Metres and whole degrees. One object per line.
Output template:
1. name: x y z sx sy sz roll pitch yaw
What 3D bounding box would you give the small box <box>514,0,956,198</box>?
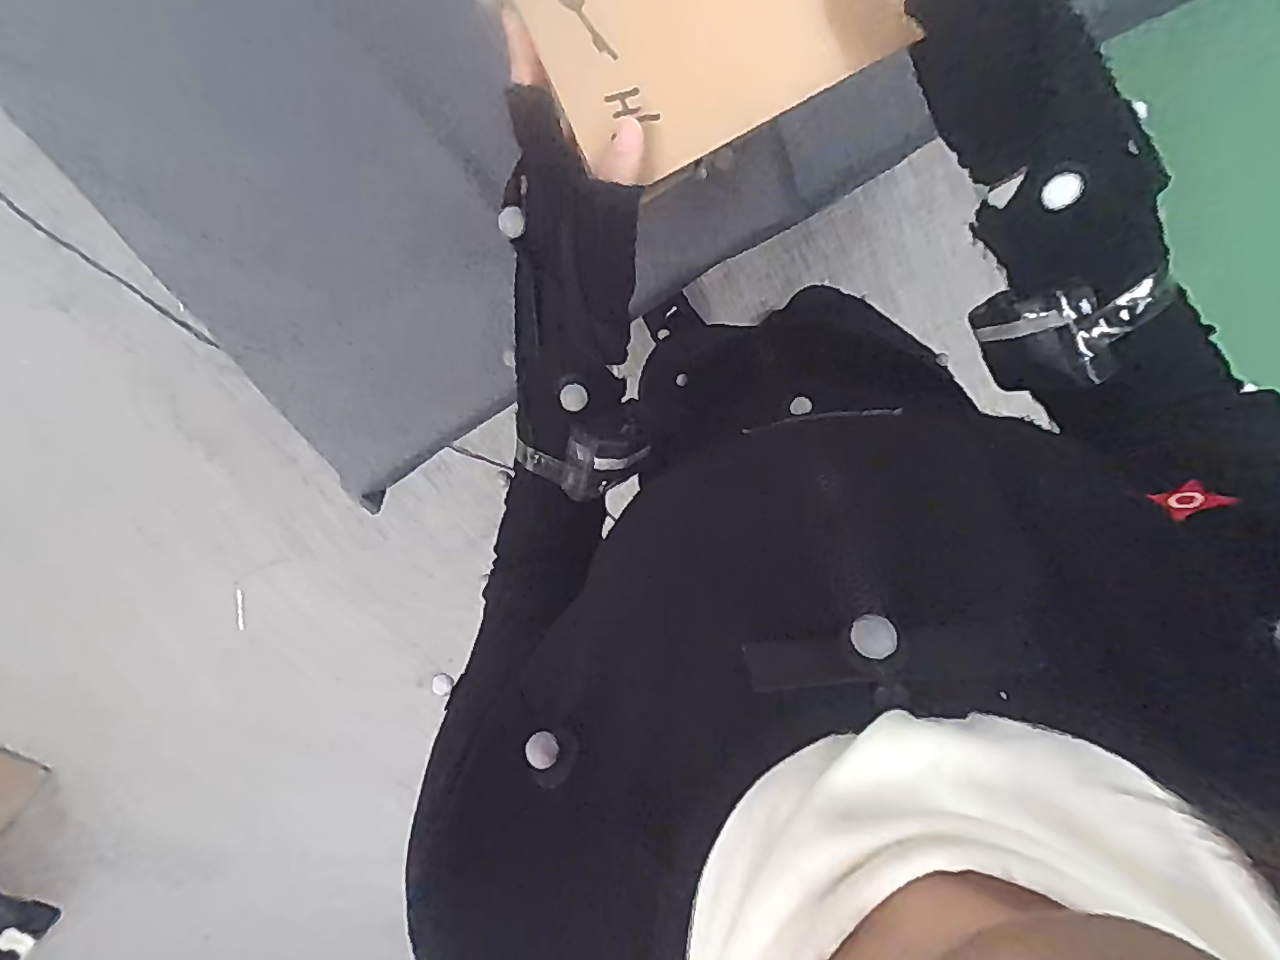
1. small box: 0.024 -0.272 0.285 0.179 0.176 0.168 -24 117 7
